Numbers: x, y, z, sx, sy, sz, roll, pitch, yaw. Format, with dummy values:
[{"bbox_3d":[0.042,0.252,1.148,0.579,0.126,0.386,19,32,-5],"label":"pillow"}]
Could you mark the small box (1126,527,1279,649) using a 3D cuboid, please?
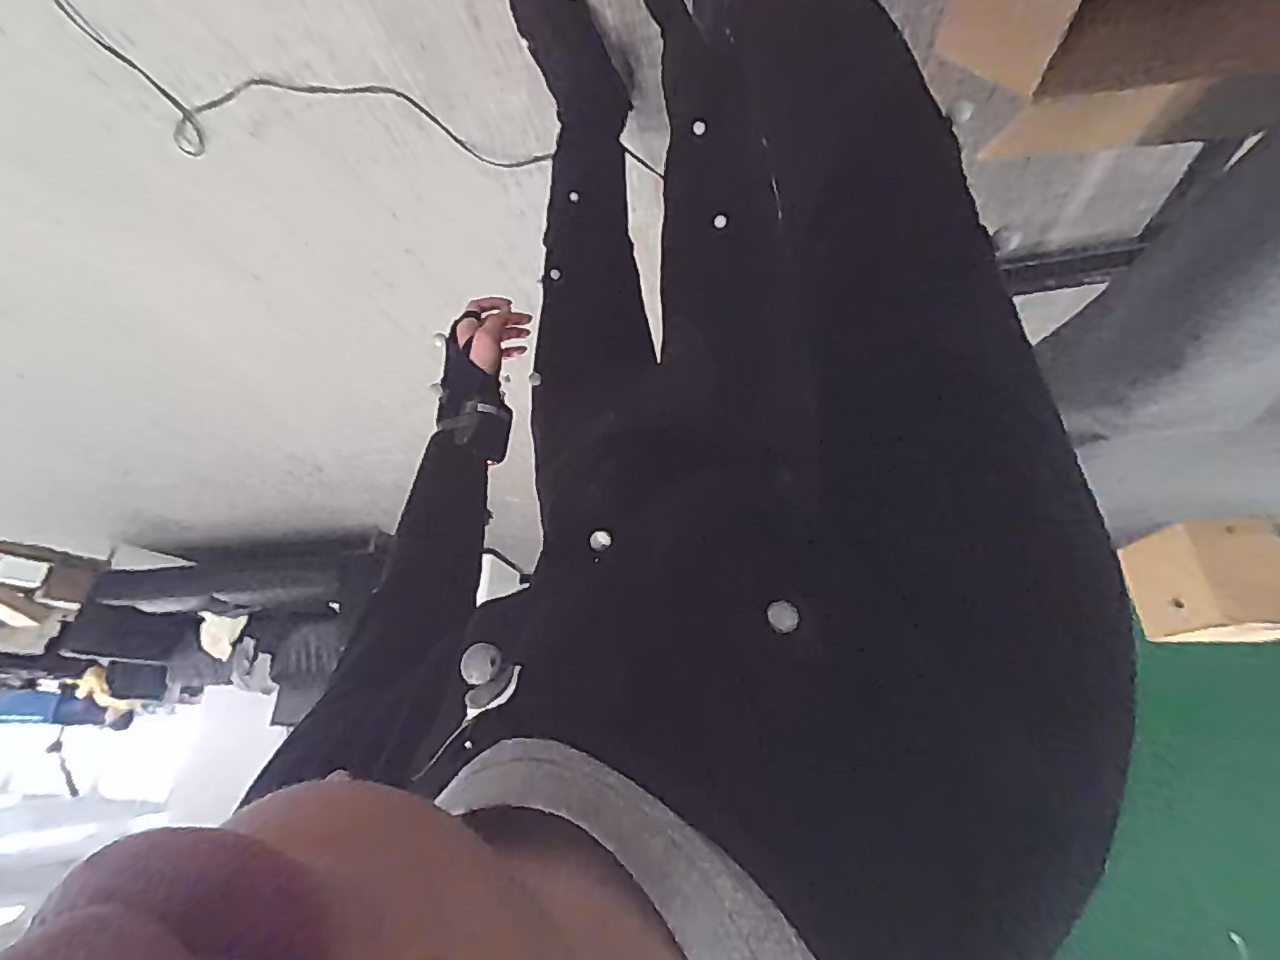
[{"bbox_3d":[0.956,0.179,0.886,0.168,0.176,0.179,-3,156,10],"label":"small box"}]
